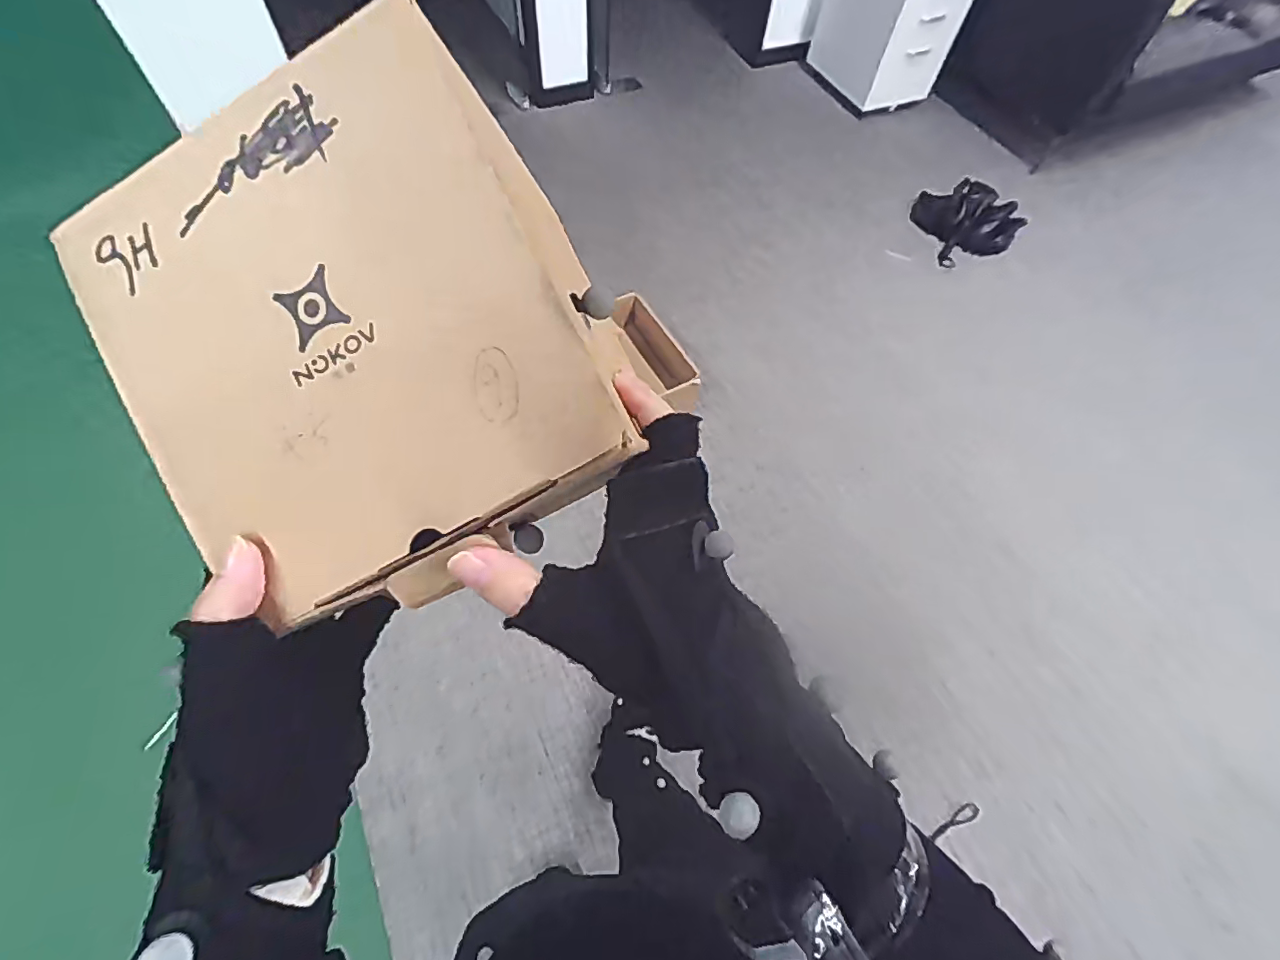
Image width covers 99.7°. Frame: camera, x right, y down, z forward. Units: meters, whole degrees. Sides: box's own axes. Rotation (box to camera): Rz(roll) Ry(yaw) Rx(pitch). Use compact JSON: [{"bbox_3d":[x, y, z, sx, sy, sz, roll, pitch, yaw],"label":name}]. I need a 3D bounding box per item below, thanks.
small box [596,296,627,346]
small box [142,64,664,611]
[{"bbox_3d":[-0.151,-0.362,1.467,0.179,0.176,0.168,-24,64,-16],"label":"small box"},{"bbox_3d":[-0.100,-0.059,0.305,0.168,0.176,0.179,-29,88,10],"label":"small box"}]
